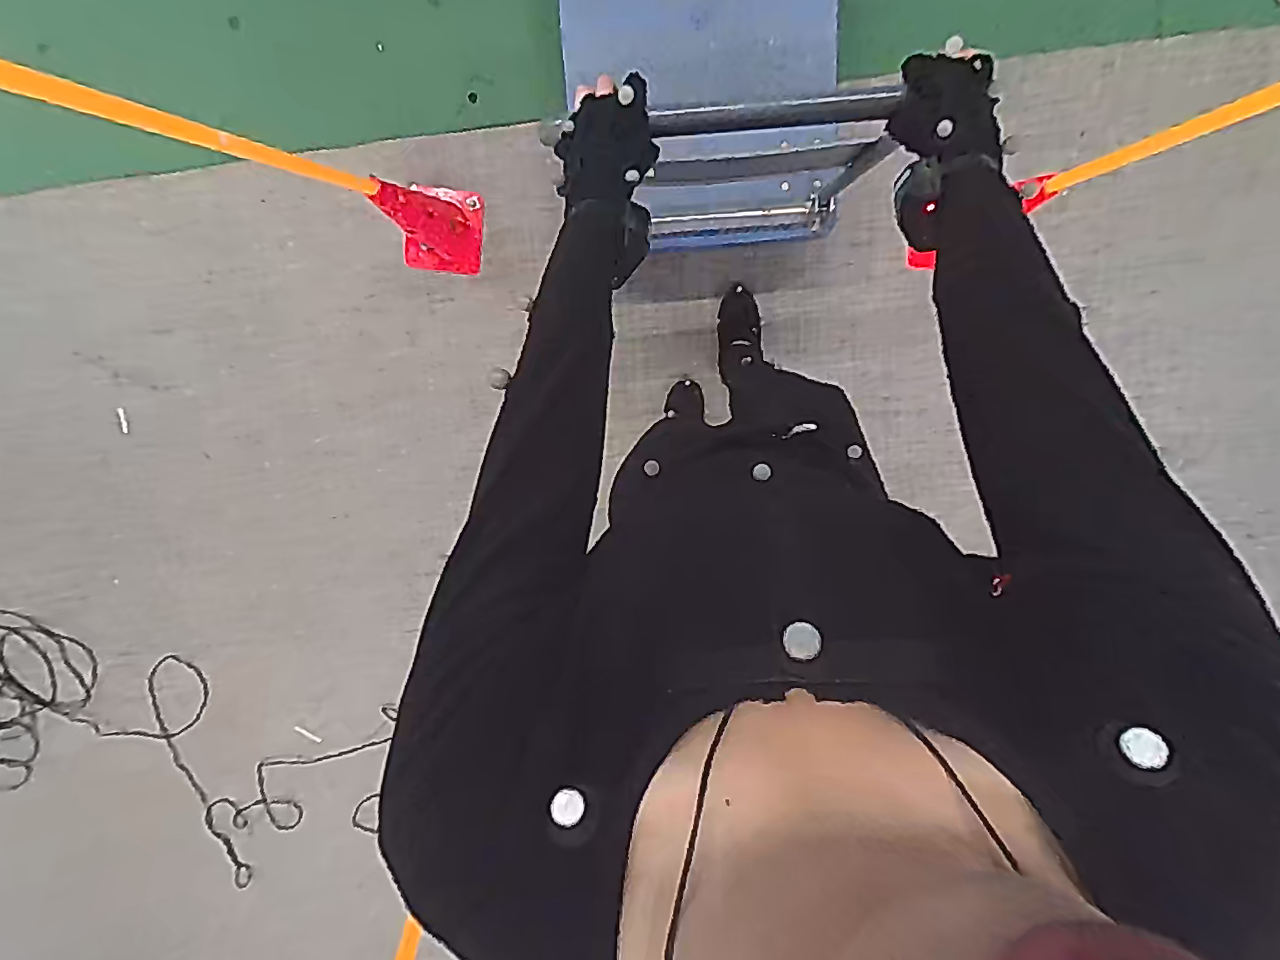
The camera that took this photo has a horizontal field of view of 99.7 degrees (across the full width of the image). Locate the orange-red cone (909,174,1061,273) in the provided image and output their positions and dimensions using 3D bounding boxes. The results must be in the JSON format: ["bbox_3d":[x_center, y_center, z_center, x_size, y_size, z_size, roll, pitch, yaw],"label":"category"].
[{"bbox_3d":[0.775,-0.586,1.177,0.198,0.360,0.199,6,103,1],"label":"orange-red cone"}]
